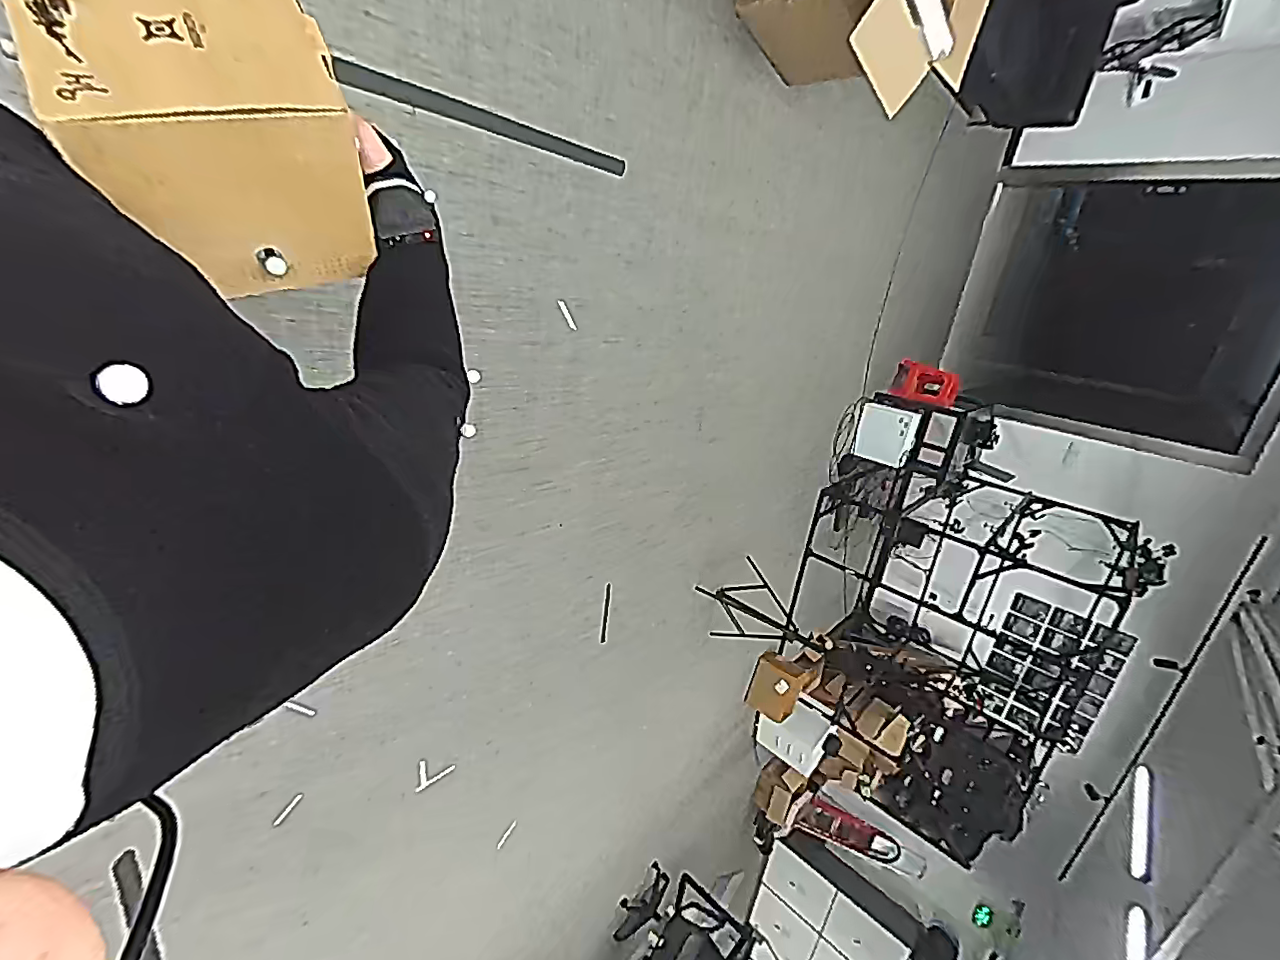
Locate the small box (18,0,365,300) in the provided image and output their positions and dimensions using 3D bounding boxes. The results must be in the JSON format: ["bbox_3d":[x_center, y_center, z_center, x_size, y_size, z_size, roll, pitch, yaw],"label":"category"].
[{"bbox_3d":[-0.354,-0.283,0.464,0.179,0.168,0.176,-21,164,-25],"label":"small box"}]
